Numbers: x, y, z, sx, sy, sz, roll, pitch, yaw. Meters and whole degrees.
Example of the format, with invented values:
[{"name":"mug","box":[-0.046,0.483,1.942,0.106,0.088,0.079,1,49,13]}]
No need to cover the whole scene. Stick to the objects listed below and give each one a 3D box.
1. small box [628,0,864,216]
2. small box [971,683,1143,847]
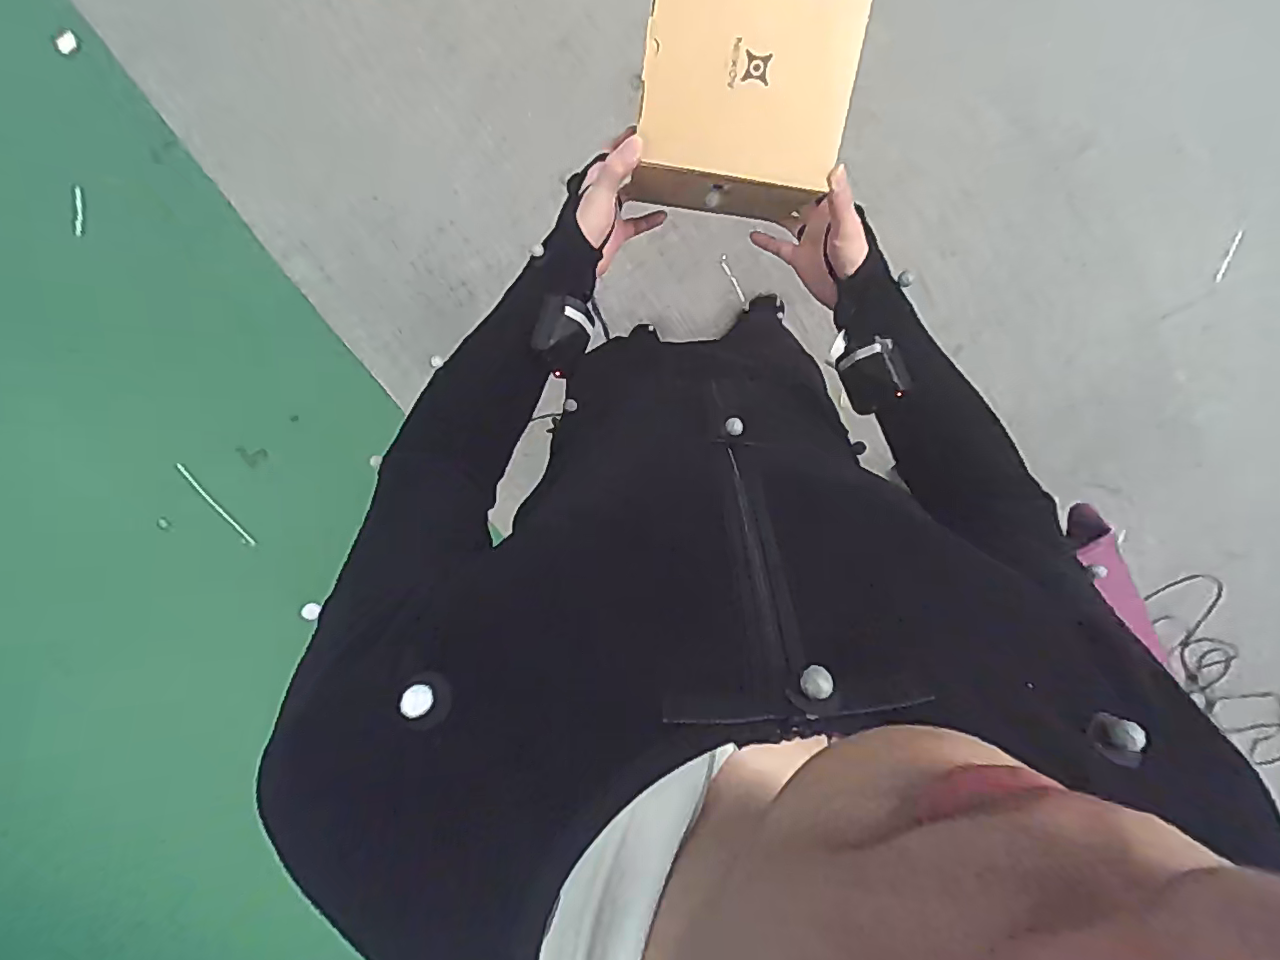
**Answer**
[{"name":"small box","box":[0.085,-0.364,0.524,0.179,0.176,0.168,7,108,-2]},{"name":"small box","box":[0.751,0.517,0.998,0.179,0.176,0.168,-32,106,9]}]
